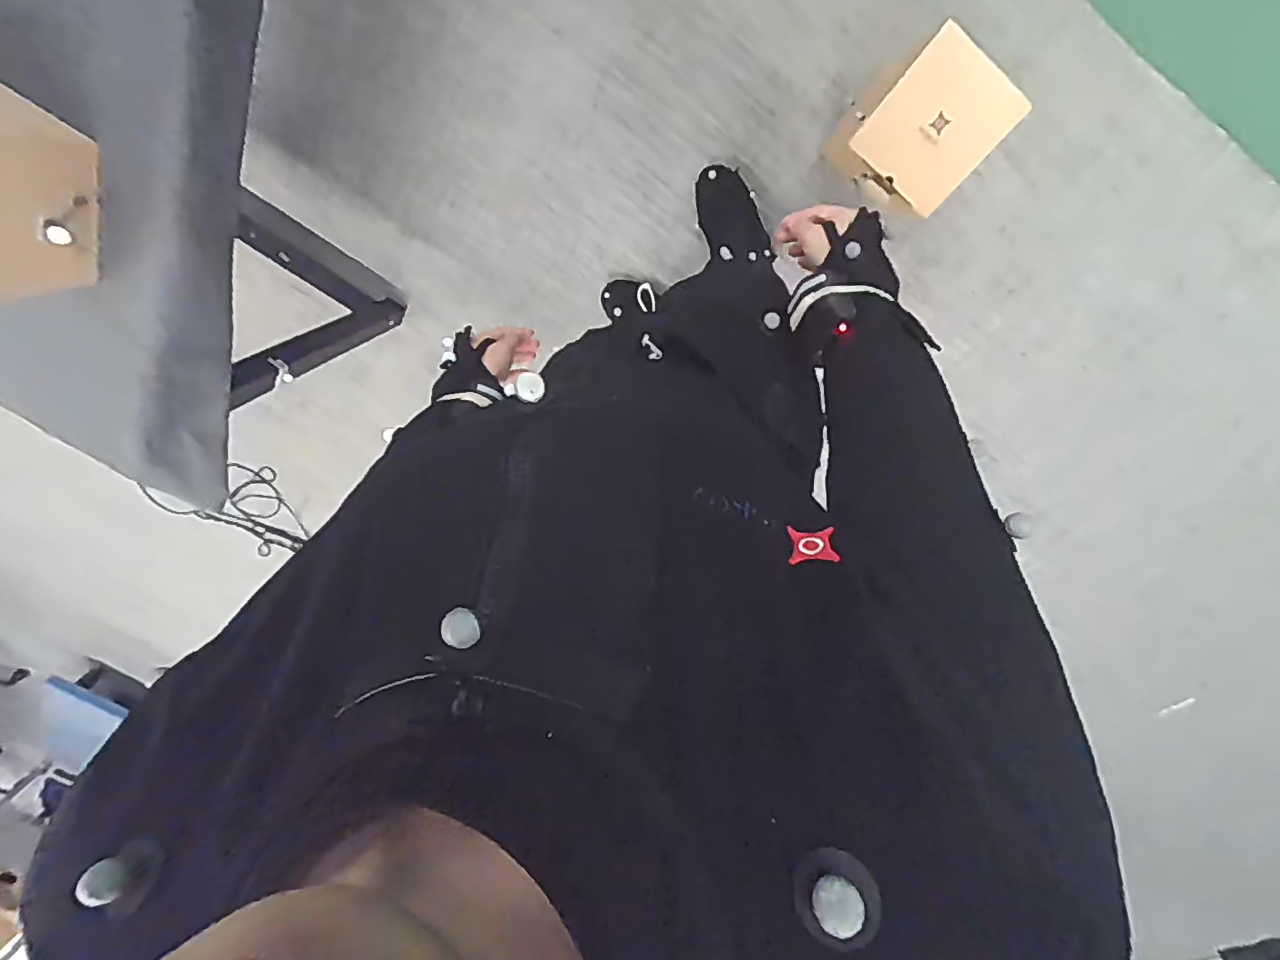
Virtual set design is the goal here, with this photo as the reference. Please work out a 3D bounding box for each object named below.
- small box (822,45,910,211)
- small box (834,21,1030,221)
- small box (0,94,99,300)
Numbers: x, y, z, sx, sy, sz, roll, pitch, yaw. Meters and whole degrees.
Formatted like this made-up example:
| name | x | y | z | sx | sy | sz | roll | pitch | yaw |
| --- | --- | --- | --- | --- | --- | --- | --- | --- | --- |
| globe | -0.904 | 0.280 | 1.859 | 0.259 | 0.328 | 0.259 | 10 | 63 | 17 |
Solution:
| name | x | y | z | sx | sy | sz | roll | pitch | yaw |
| --- | --- | --- | --- | --- | --- | --- | --- | --- | --- |
| small box | 0.442 | -0.610 | 0.953 | 0.168 | 0.176 | 0.179 | 34 | 122 | -10 |
| small box | 0.419 | -0.527 | 0.814 | 0.168 | 0.176 | 0.179 | 35 | 121 | -11 |
| small box | -0.669 | -0.276 | 0.498 | 0.179 | 0.176 | 0.168 | 31 | 121 | -9 |
